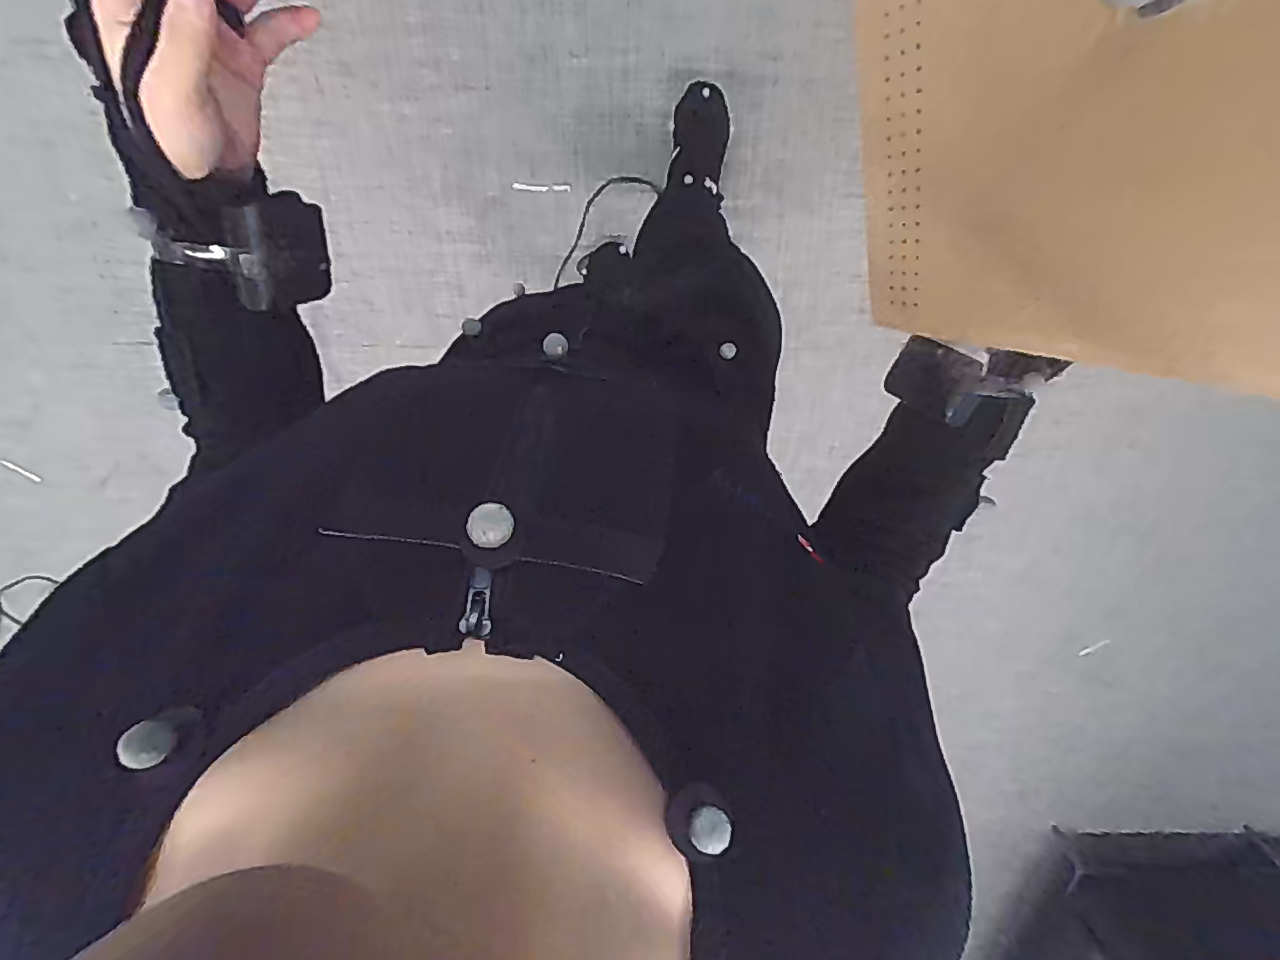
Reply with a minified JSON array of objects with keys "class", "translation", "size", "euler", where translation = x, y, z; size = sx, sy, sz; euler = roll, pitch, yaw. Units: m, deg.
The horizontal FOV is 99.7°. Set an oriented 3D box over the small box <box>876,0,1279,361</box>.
[{"class":"small box","translation":[0.201,-0.150,0.177],"size":[0.168,0.176,0.179],"euler":[-25,119,-13]}]
